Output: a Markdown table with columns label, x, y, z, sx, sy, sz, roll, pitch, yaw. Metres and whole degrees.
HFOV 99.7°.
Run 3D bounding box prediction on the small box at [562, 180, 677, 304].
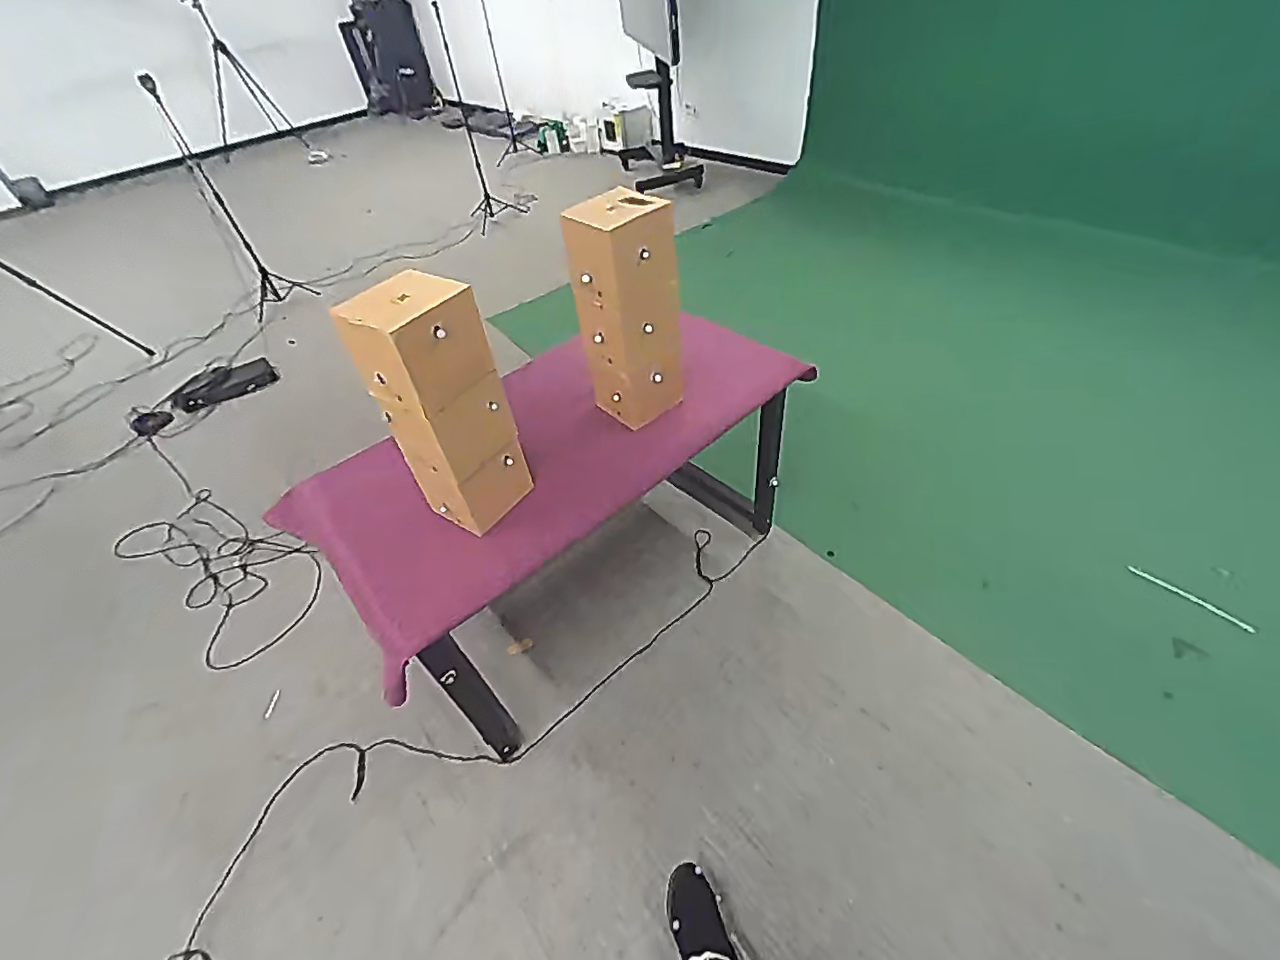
| label | x | y | z | sx | sy | sz | roll | pitch | yaw |
| --- | --- | --- | --- | --- | --- | --- | --- | --- | --- |
| small box | -0.037 | -0.502 | 1.139 | 0.179 | 0.176 | 0.168 | -37 | 53 | -24 |

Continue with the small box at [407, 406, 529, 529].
| label | x | y | z | sx | sy | sz | roll | pitch | yaw |
| --- | --- | --- | --- | --- | --- | --- | --- | --- | --- |
| small box | -0.363 | -0.027 | 1.182 | 0.168 | 0.176 | 0.179 | 23 | 54 | 27 |

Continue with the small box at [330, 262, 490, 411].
| label | x | y | z | sx | sy | sz | roll | pitch | yaw |
| --- | --- | --- | --- | --- | --- | --- | --- | --- | --- |
| small box | -0.385 | -0.251 | 0.946 | 0.168 | 0.176 | 0.179 | 23 | 53 | 25 |

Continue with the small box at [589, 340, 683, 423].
| label | x | y | z | sx | sy | sz | roll | pitch | yaw |
| --- | --- | --- | --- | --- | --- | --- | --- | --- | --- |
| small box | -0.003 | -0.273 | 1.373 | 0.179 | 0.176 | 0.168 | -34 | 52 | -23 |

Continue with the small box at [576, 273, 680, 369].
| label | x | y | z | sx | sy | sz | roll | pitch | yaw |
| --- | --- | --- | --- | --- | --- | --- | --- | --- | --- |
| small box | -0.020 | -0.387 | 1.257 | 0.179 | 0.176 | 0.168 | -36 | 53 | -23 |
